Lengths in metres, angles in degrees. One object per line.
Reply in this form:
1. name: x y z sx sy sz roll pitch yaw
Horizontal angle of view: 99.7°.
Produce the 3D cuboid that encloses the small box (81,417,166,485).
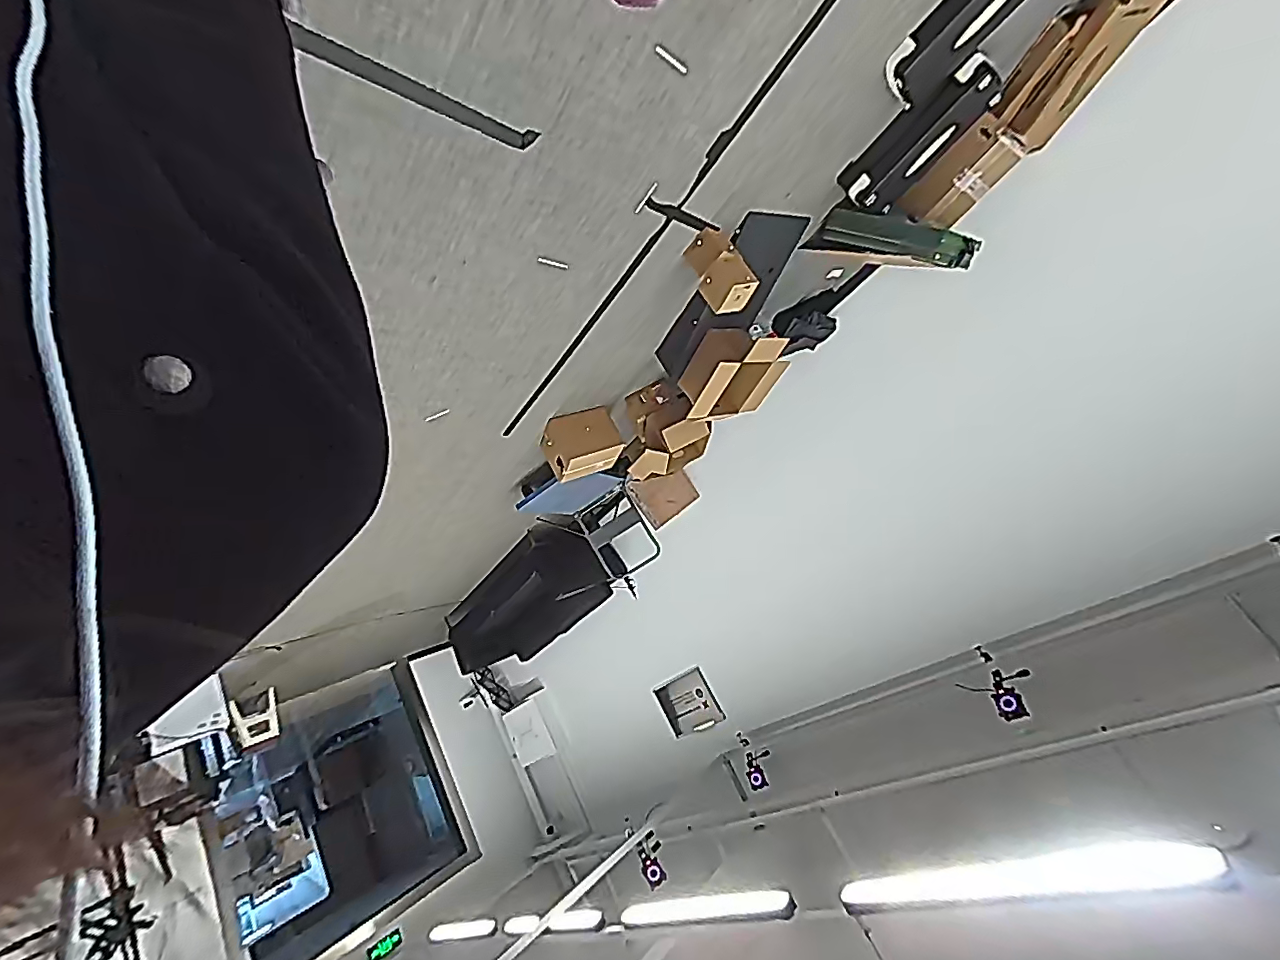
1. small box: -1.769 -0.100 1.848 0.168 0.176 0.179 -40 162 29
